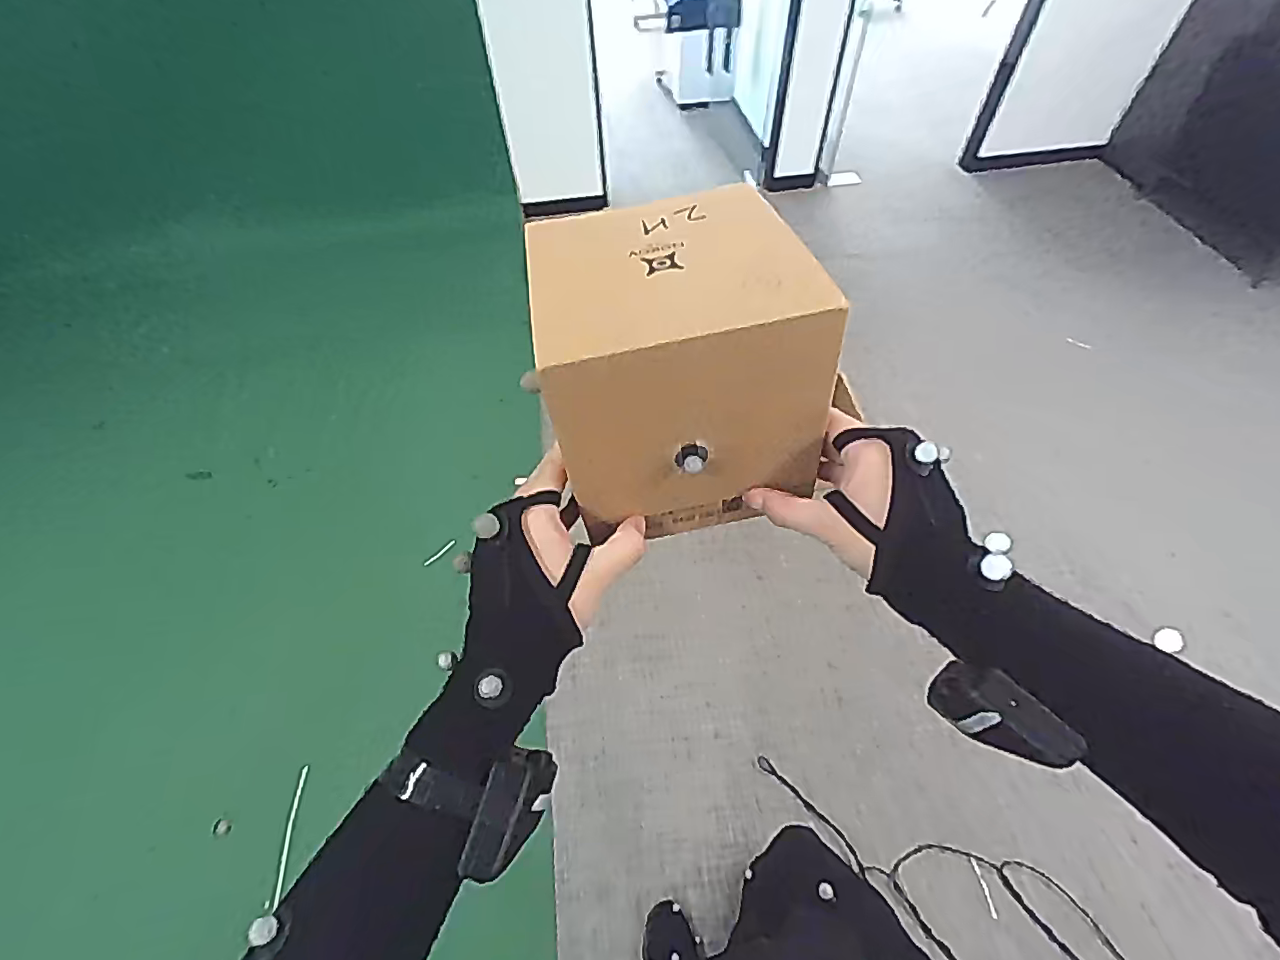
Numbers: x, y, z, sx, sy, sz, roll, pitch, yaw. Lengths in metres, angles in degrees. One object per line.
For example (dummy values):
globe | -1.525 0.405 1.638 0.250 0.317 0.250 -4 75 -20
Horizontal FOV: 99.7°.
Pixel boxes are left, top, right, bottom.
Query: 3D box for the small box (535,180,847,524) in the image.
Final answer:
small box | 0.027 -0.084 0.390 0.168 0.176 0.179 -11 47 -1
